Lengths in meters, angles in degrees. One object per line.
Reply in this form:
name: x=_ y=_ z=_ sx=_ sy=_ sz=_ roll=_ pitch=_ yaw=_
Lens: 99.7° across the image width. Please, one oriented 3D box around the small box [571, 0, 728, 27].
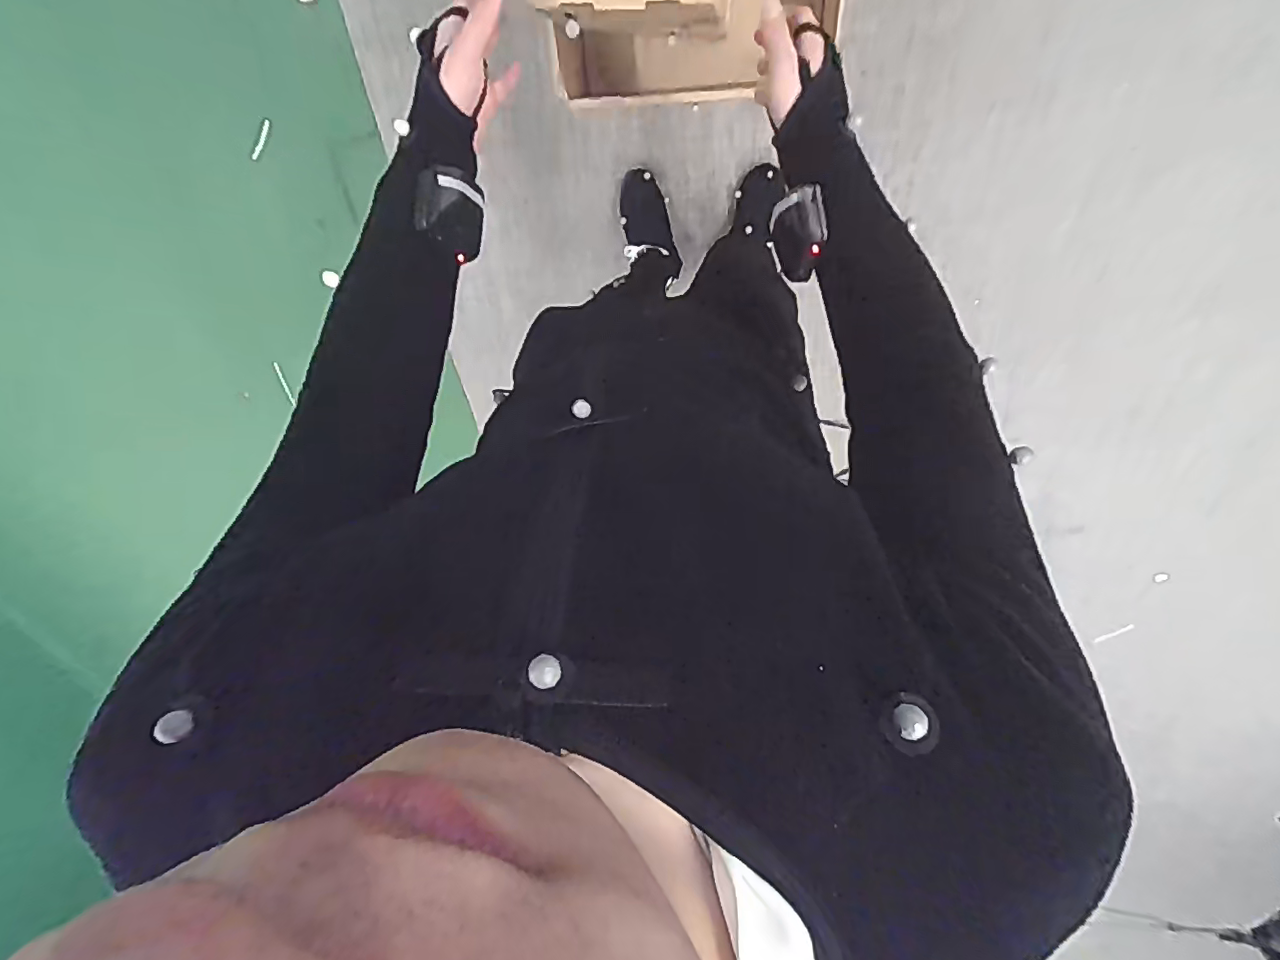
small box: x=0.020 y=-0.617 z=0.591 sx=0.168 sy=0.176 sz=0.179 roll=6 pitch=125 yaw=6
